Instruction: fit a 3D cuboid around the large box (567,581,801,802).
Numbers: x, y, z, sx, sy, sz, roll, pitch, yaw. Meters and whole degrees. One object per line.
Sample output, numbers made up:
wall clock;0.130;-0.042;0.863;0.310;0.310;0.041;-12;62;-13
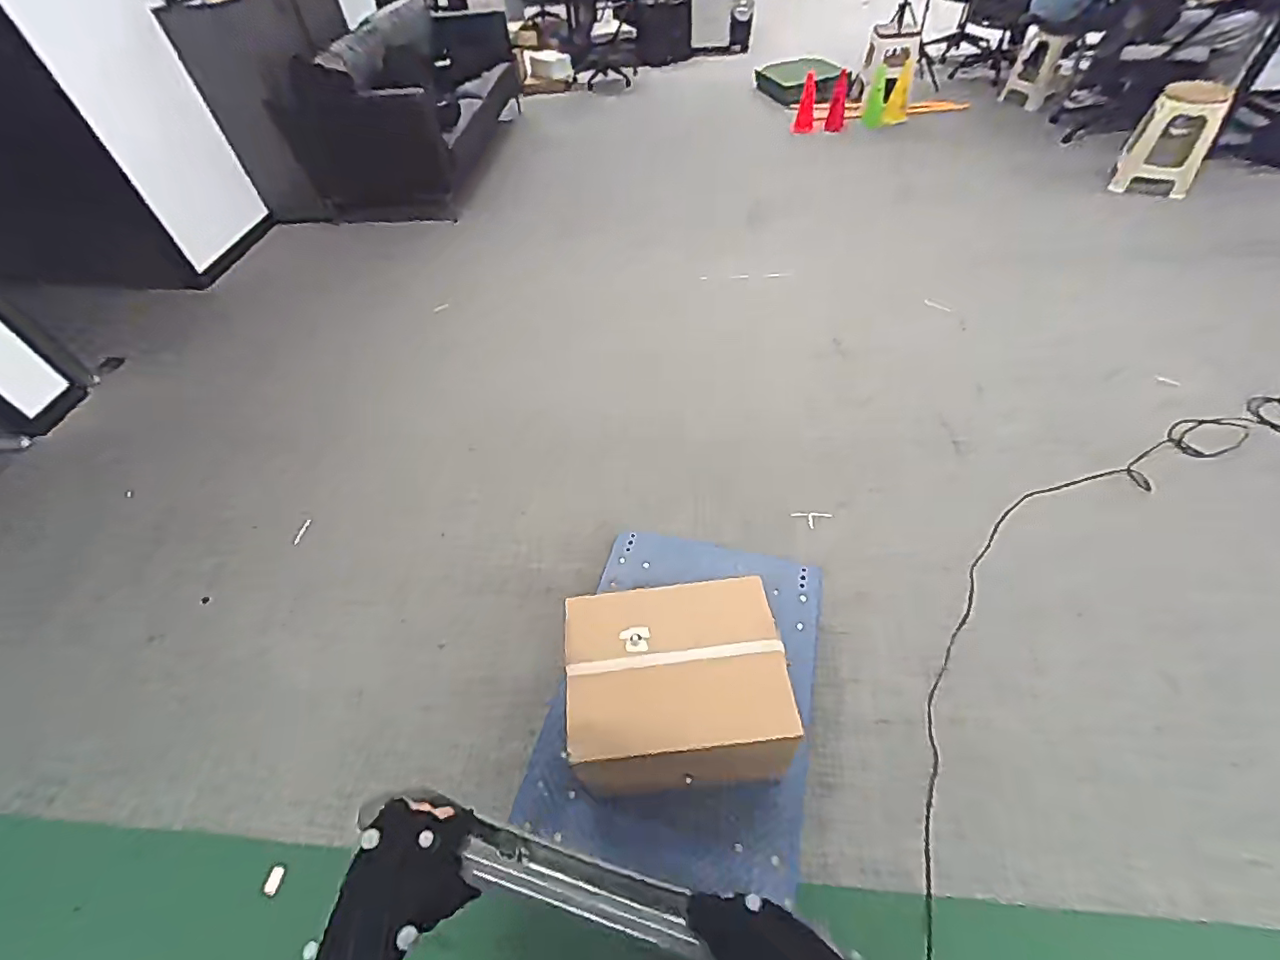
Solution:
large box;0.078;0.446;1.124;0.408;0.320;0.320;-8;48;0
